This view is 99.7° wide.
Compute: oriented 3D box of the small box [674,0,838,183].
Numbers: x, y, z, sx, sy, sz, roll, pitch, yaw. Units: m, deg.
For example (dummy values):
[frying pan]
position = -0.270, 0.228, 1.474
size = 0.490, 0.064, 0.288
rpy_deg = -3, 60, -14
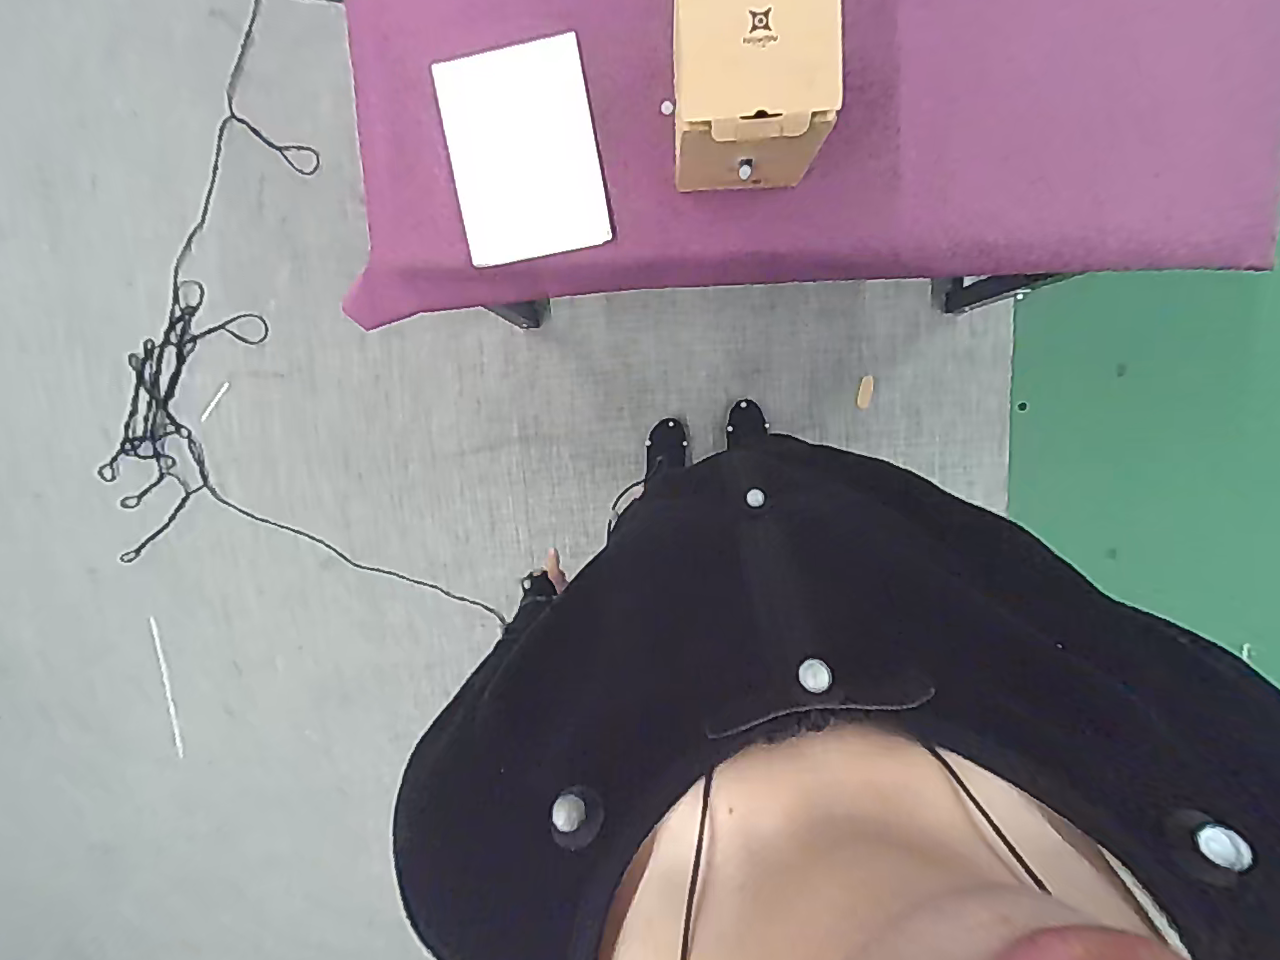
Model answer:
[small box]
position = 0.126, -0.470, 0.639
size = 0.168, 0.176, 0.179
rpy_deg = -1, 98, 2
